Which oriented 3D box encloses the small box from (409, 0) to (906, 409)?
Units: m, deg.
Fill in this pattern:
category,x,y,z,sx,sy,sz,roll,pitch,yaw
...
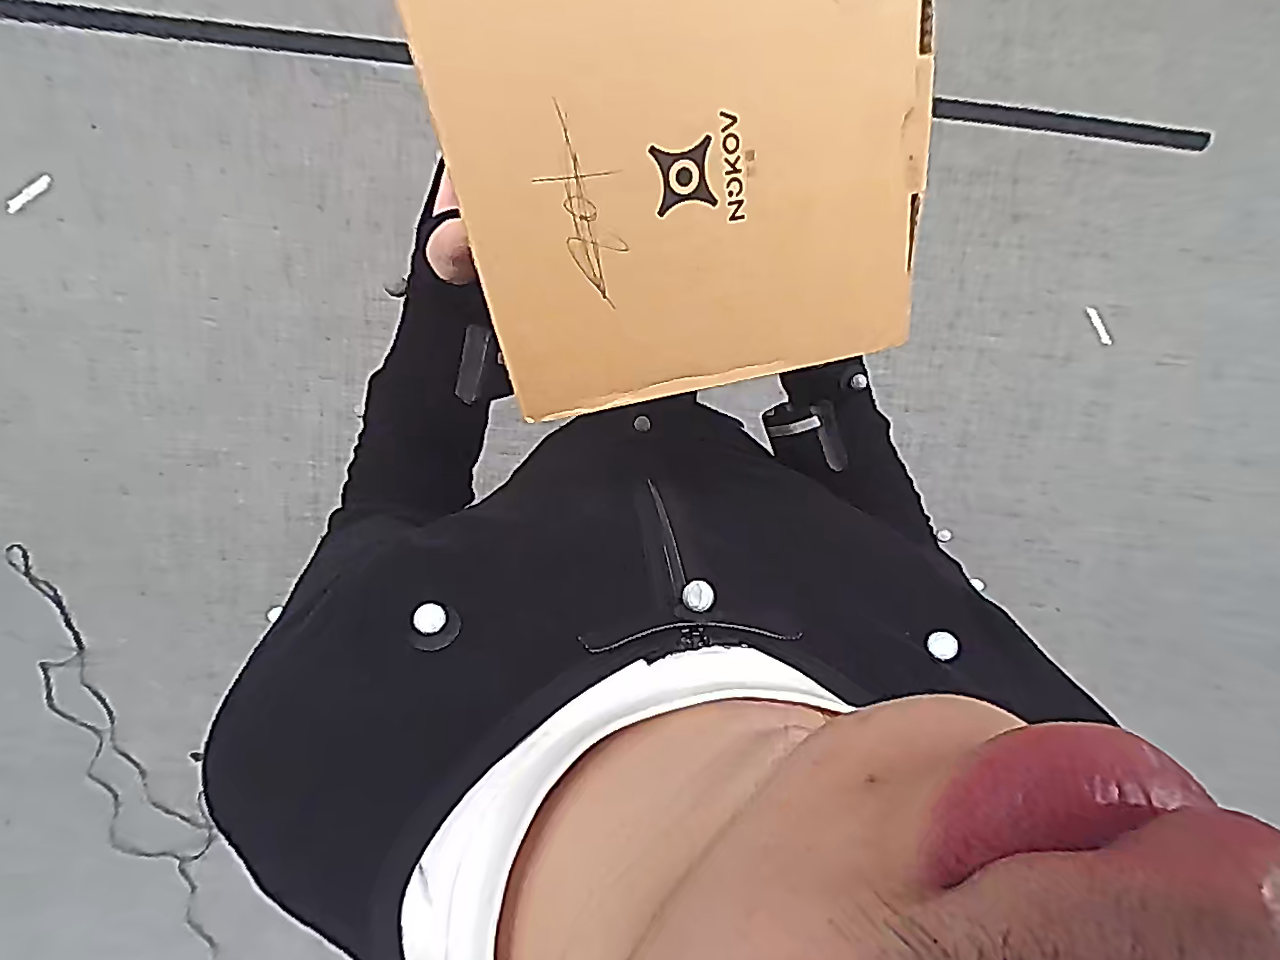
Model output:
category,x,y,z,sx,sy,sz,roll,pitch,yaw
small box,0.010,-0.156,0.283,0.179,0.176,0.168,-12,117,0
